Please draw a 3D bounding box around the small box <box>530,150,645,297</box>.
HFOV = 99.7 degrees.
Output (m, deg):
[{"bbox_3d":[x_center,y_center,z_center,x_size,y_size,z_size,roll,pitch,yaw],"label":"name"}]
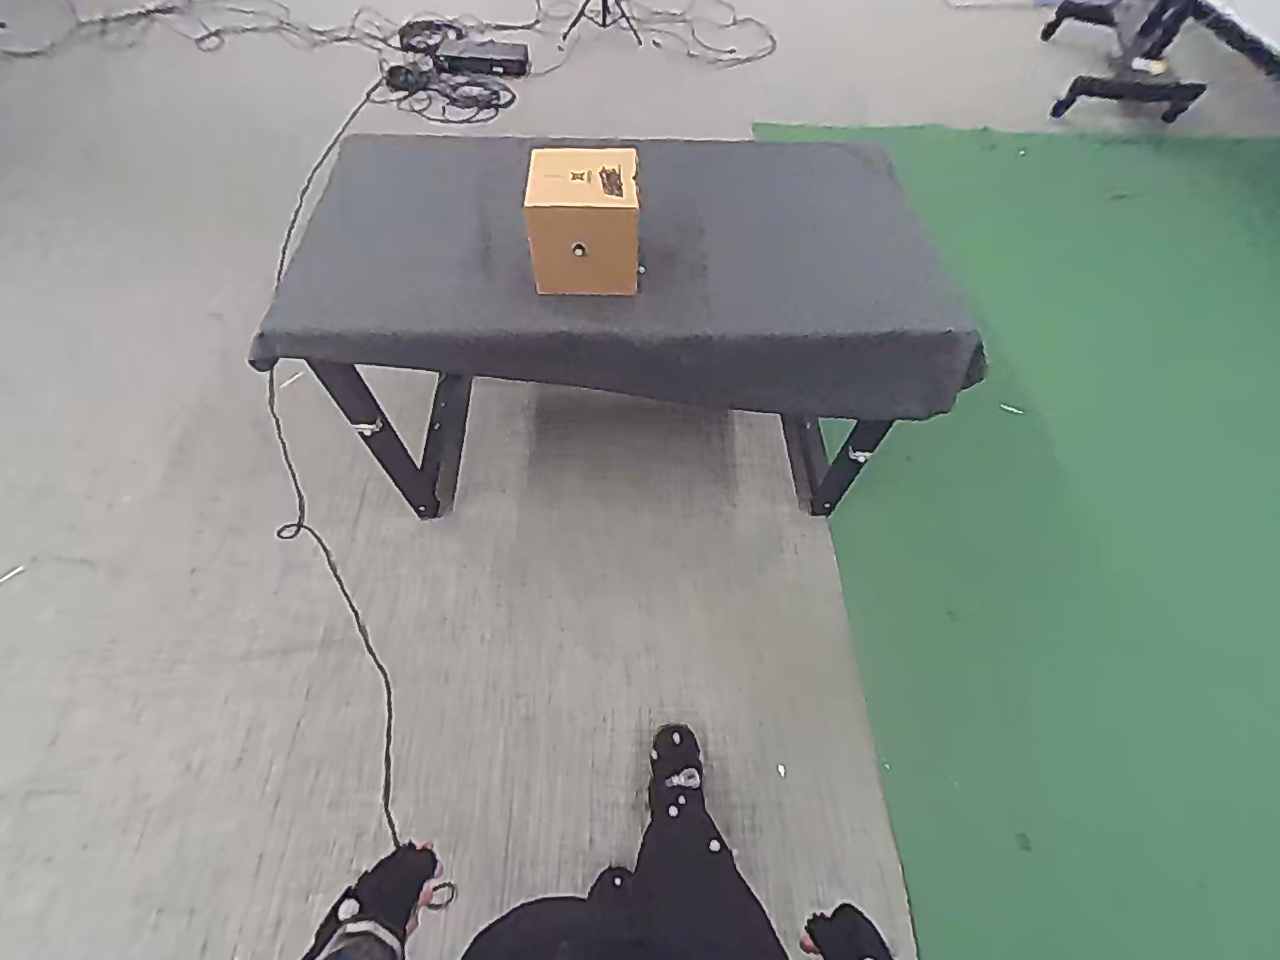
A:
[{"bbox_3d":[-0.088,-0.434,0.929,0.179,0.176,0.168,-2,60,-4],"label":"small box"}]
